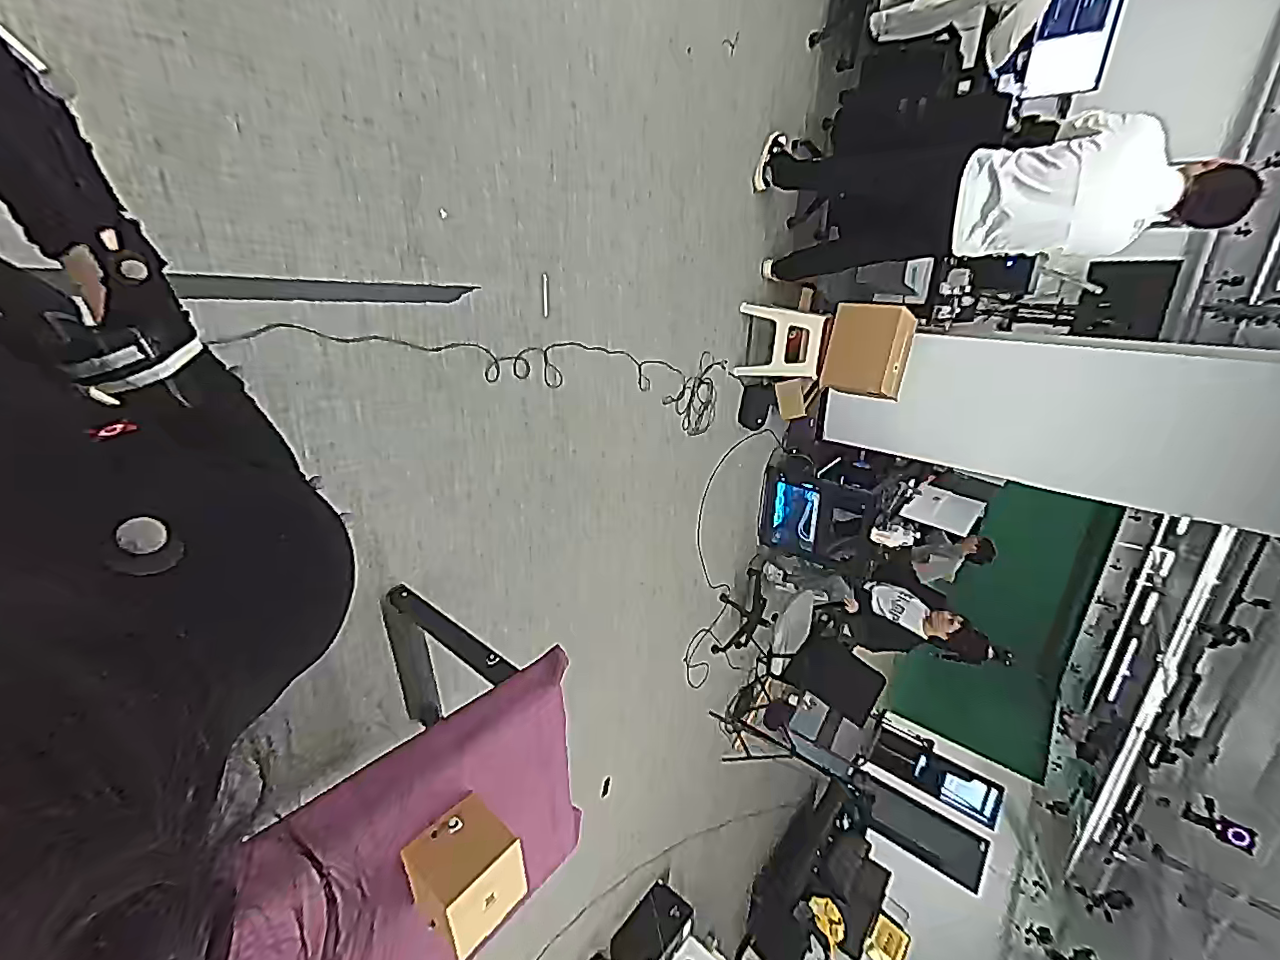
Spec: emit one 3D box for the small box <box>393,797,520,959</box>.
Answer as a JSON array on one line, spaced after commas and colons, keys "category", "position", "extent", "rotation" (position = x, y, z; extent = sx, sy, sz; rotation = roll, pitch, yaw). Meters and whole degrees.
[{"category": "small box", "position": [-0.365, 0.788, 1.083], "extent": [0.168, 0.176, 0.179], "rotation": [-27, 124, -45]}]
